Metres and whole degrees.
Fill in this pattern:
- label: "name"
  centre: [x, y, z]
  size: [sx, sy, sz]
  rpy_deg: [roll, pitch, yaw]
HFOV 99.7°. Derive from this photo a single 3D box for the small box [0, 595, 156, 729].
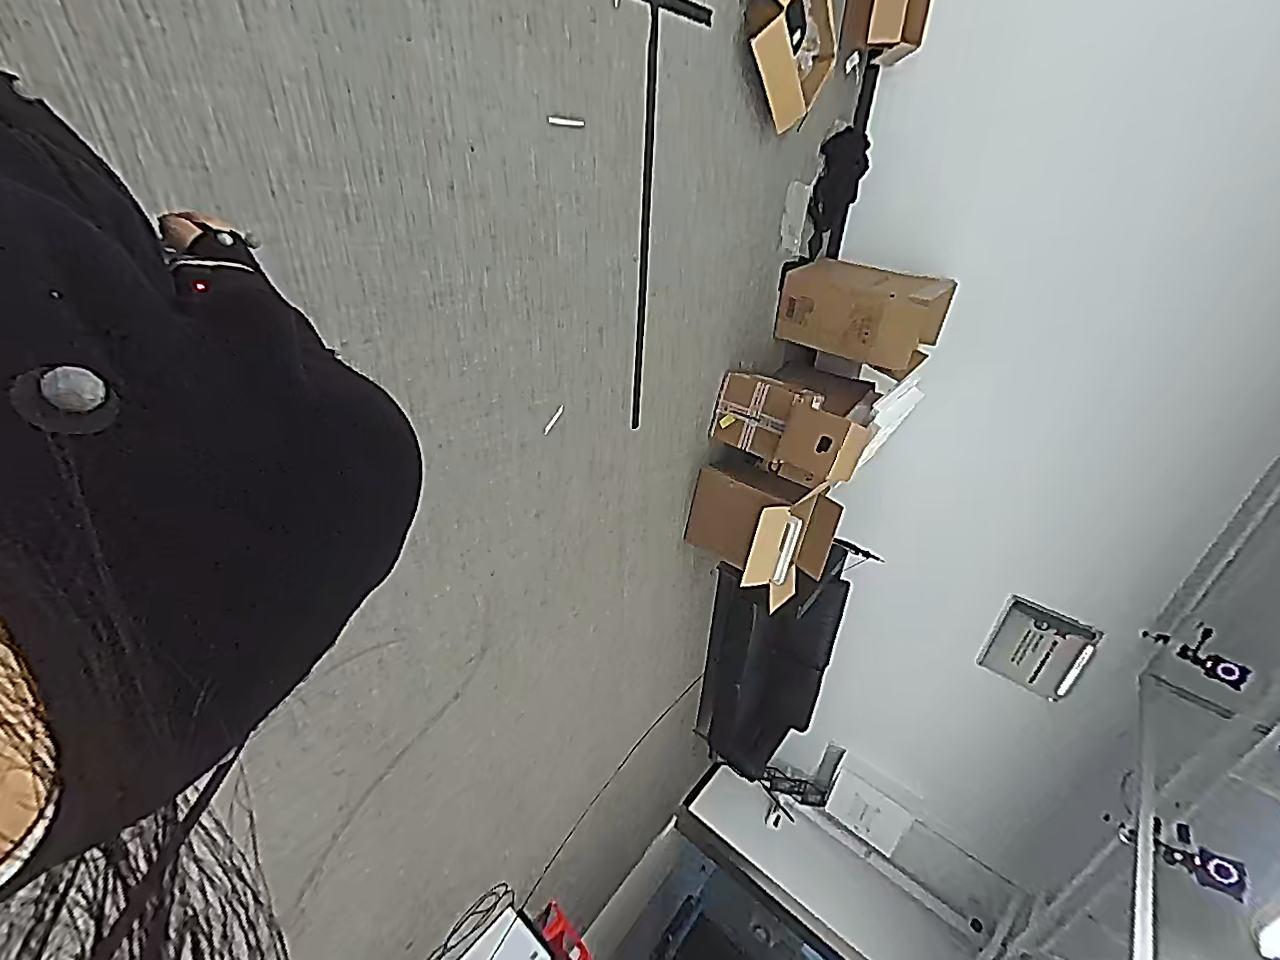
- label: "small box"
  centre: [-1.194, 0.379, 1.150]
  size: [0.168, 0.176, 0.179]
  rpy_deg: [-39, 139, -36]
